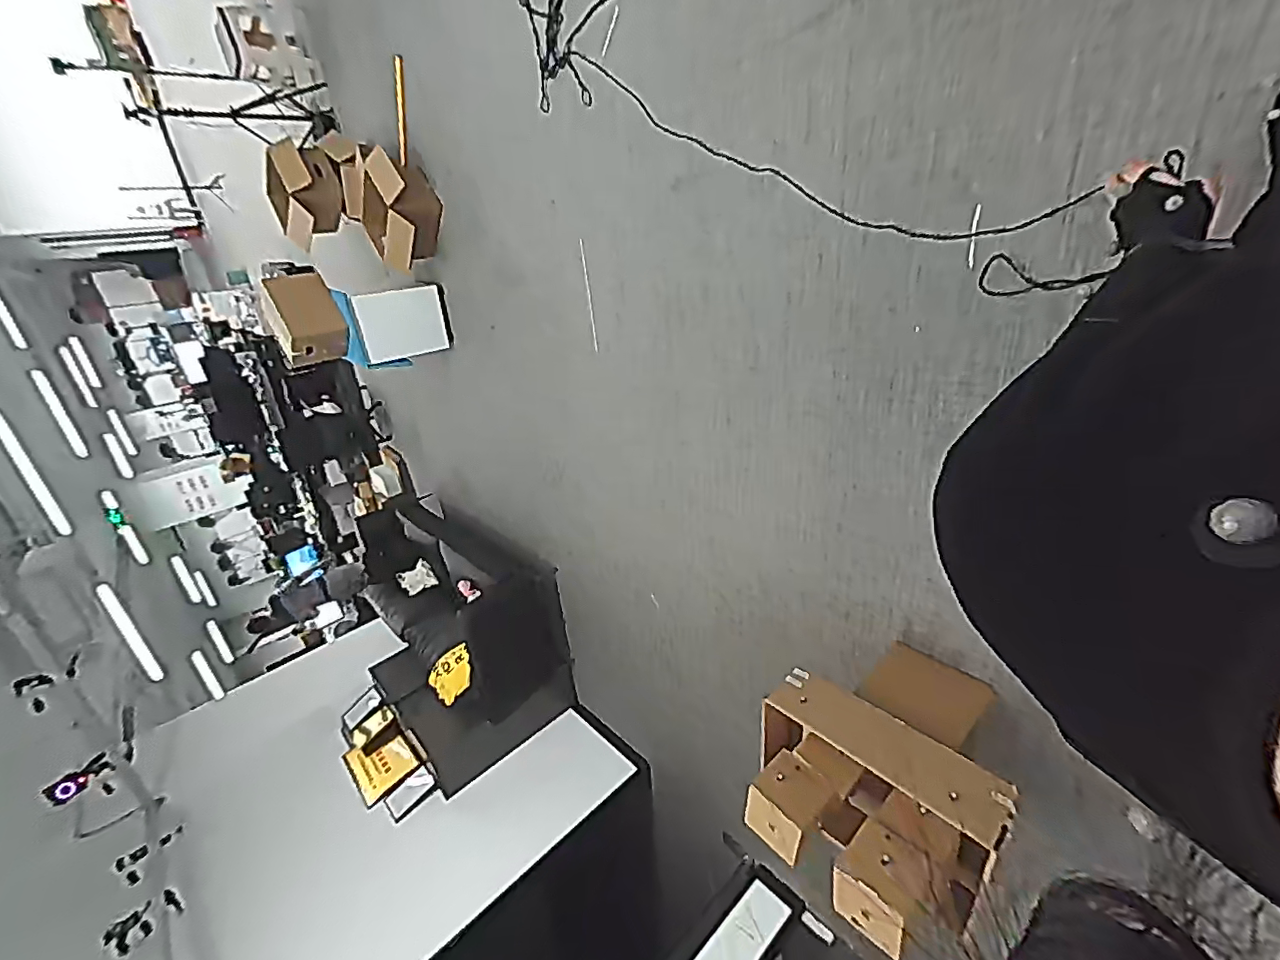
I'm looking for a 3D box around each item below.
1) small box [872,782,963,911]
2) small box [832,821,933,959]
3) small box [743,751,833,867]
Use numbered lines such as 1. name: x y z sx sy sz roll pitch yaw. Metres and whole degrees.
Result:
1. small box: 0.713 0.940 1.401 0.168 0.176 0.179 17 123 45
2. small box: 0.585 0.980 1.305 0.168 0.176 0.179 19 123 46
3. small box: 0.406 0.893 1.484 0.168 0.176 0.179 28 130 41
